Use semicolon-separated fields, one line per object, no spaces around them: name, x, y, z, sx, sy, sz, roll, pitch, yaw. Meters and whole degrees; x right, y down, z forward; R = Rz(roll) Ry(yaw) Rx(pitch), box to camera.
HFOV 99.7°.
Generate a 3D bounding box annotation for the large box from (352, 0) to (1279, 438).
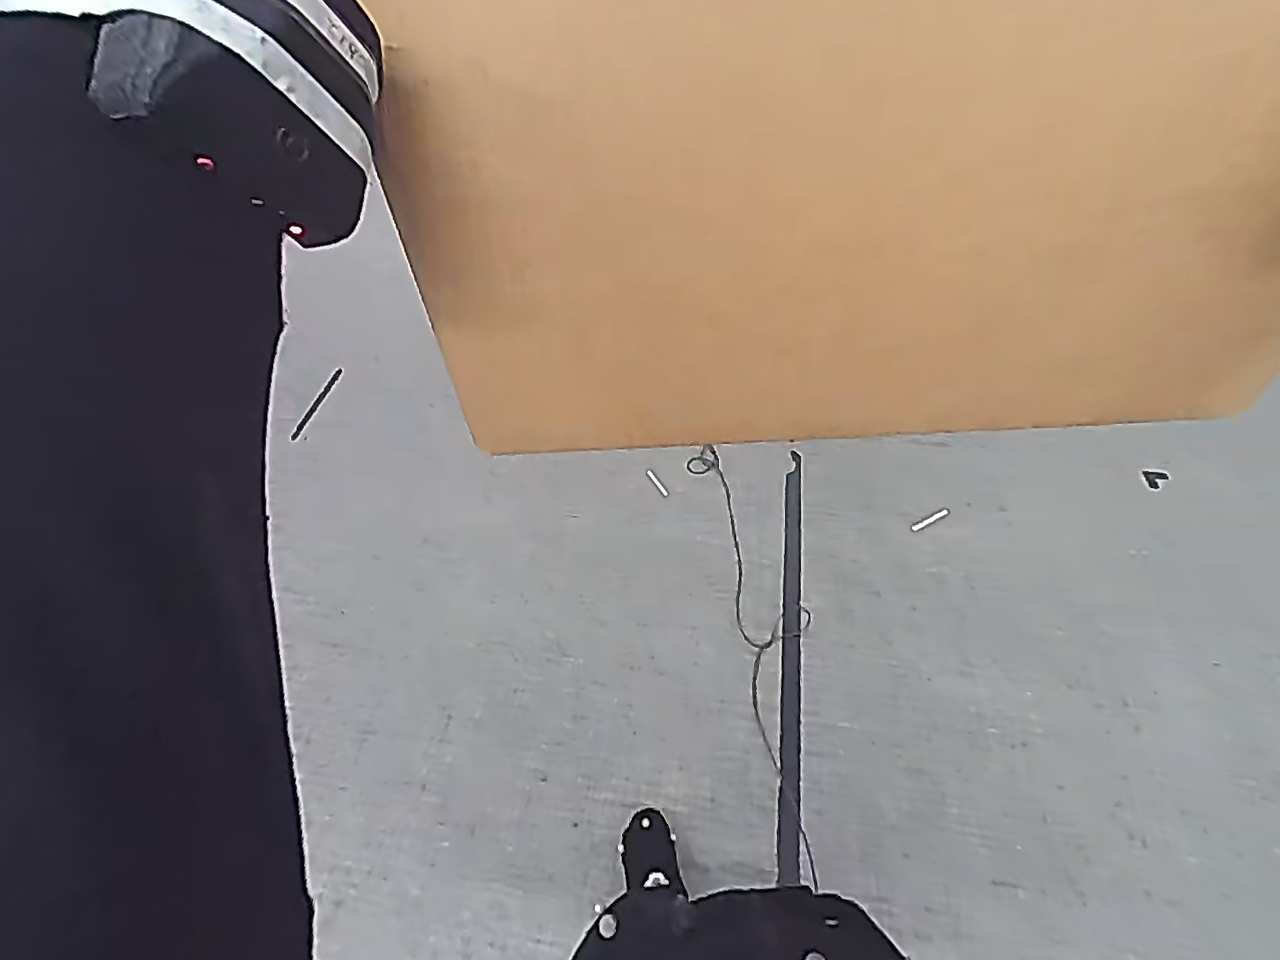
large box;0.096;-0.243;0.314;0.408;0.320;0.320;-3;42;2
